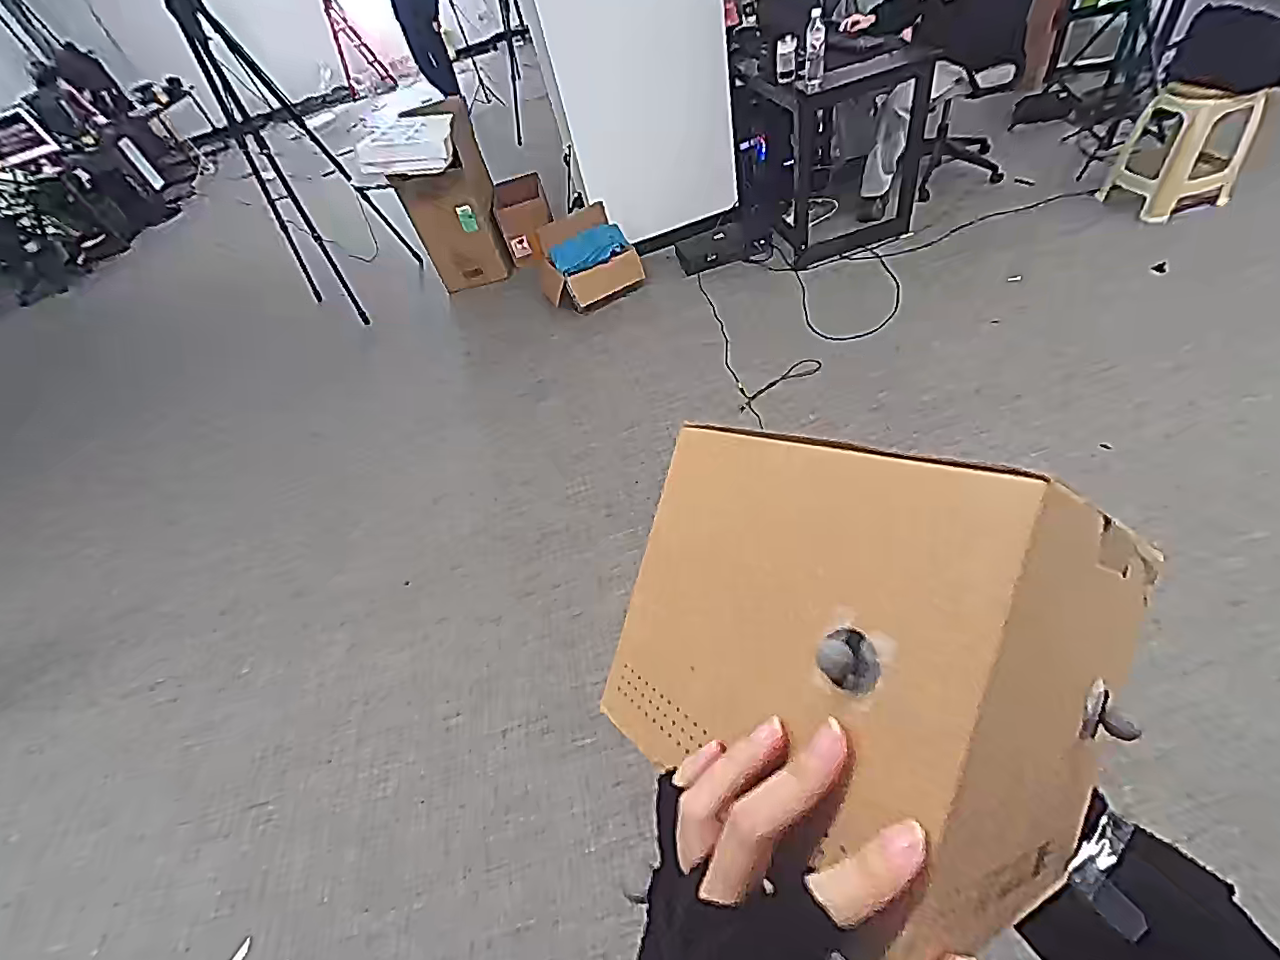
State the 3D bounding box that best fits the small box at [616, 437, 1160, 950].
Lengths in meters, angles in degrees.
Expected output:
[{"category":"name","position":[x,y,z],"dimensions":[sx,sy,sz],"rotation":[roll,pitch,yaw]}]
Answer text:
[{"category":"small box","position":[0.114,0.088,0.279],"dimensions":[0.179,0.168,0.176],"rotation":[17,90,53]}]
